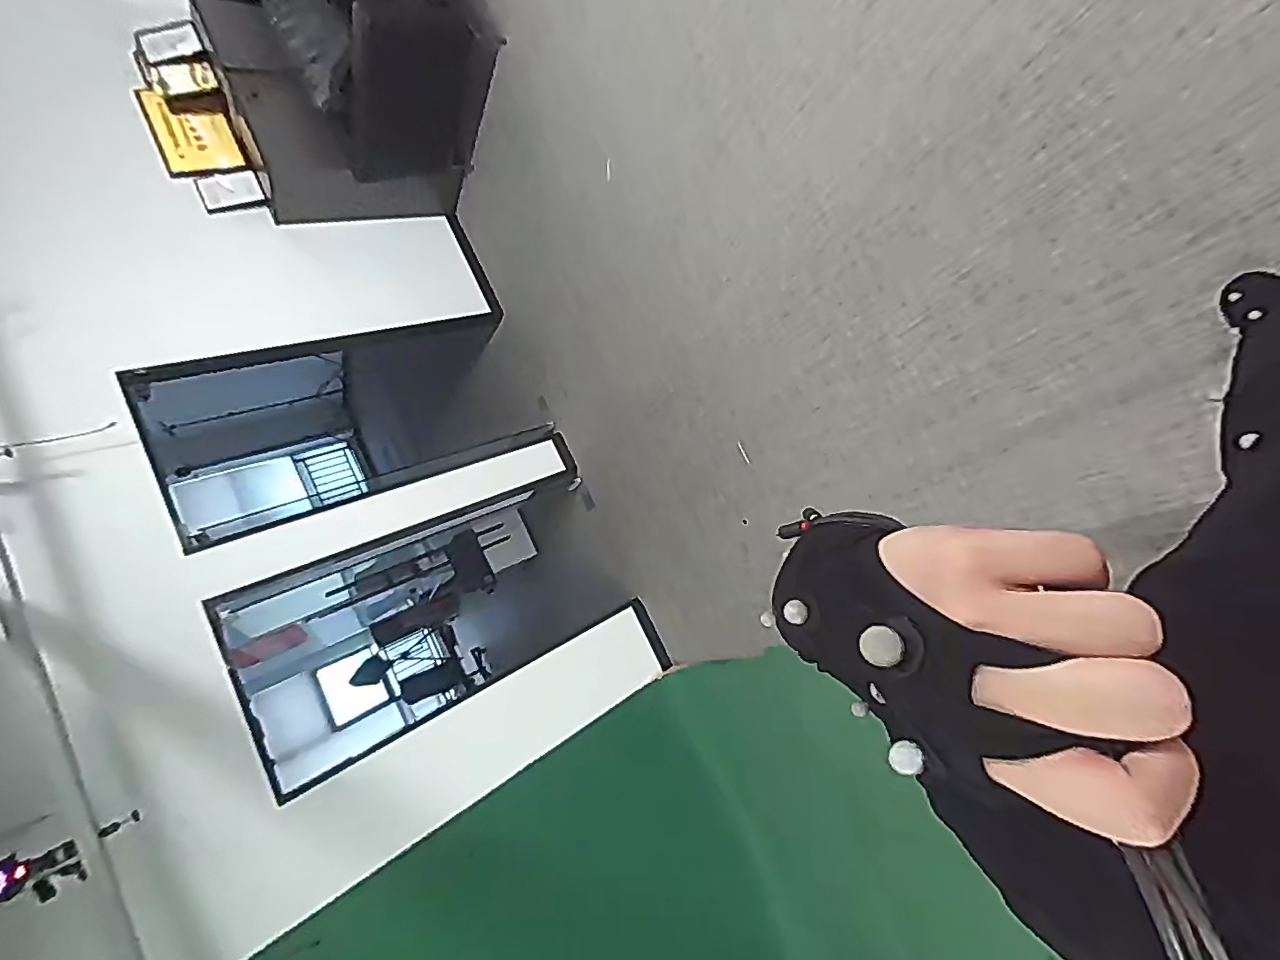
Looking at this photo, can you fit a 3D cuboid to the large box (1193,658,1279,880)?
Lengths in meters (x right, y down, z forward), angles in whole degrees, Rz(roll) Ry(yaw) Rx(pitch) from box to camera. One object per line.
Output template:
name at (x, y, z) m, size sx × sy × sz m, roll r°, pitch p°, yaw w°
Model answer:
large box at (1.293, 0.556, 0.935) m, size 0.408 × 0.320 × 0.320 m, roll 61°, pitch 146°, yaw 7°
